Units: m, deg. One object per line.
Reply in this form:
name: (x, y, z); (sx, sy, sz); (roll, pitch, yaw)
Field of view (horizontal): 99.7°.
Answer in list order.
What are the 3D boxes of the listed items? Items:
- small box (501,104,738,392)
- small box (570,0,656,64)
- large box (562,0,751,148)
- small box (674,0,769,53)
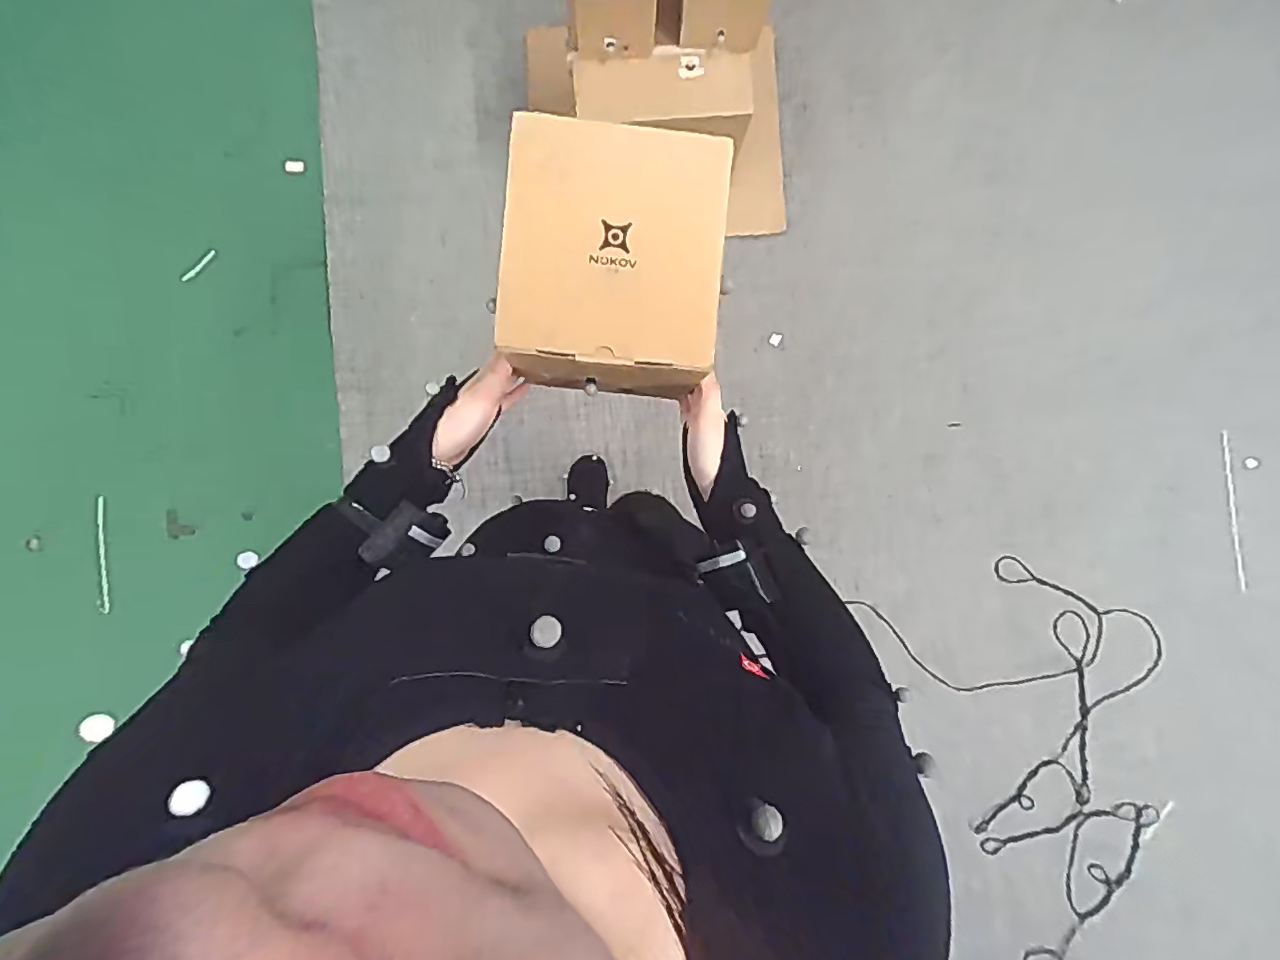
small box: (-0.021, -0.183, 0.481); (0.168, 0.176, 0.179); (5, 92, -4)
small box: (-0.063, -1.012, 1.117); (0.168, 0.176, 0.179); (-7, 89, -2)
large box: (0.029, -0.946, 1.362); (0.408, 0.320, 0.320); (-6, 90, -4)
small box: (0.167, -1.032, 1.124); (0.179, 0.176, 0.168); (0, 89, -2)
